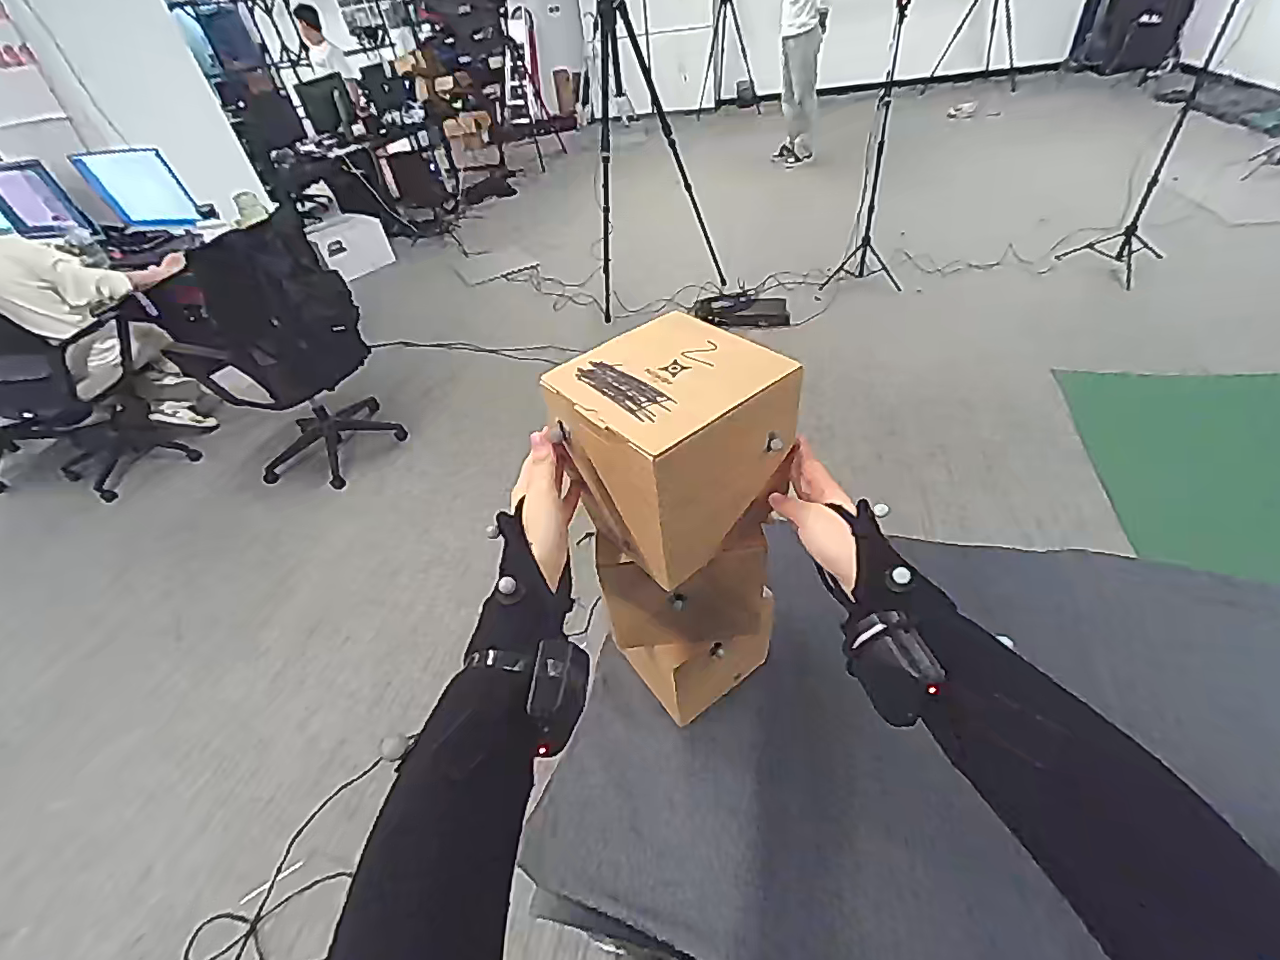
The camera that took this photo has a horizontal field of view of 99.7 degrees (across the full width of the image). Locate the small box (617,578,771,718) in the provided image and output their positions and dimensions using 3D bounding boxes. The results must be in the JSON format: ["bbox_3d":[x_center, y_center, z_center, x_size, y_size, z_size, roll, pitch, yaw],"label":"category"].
[{"bbox_3d":[0.062,0.196,0.767,0.168,0.176,0.179,-30,46,-21],"label":"small box"}]

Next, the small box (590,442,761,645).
[{"bbox_3d":[0.040,0.079,0.652,0.179,0.176,0.168,-8,43,3],"label":"small box"}]
